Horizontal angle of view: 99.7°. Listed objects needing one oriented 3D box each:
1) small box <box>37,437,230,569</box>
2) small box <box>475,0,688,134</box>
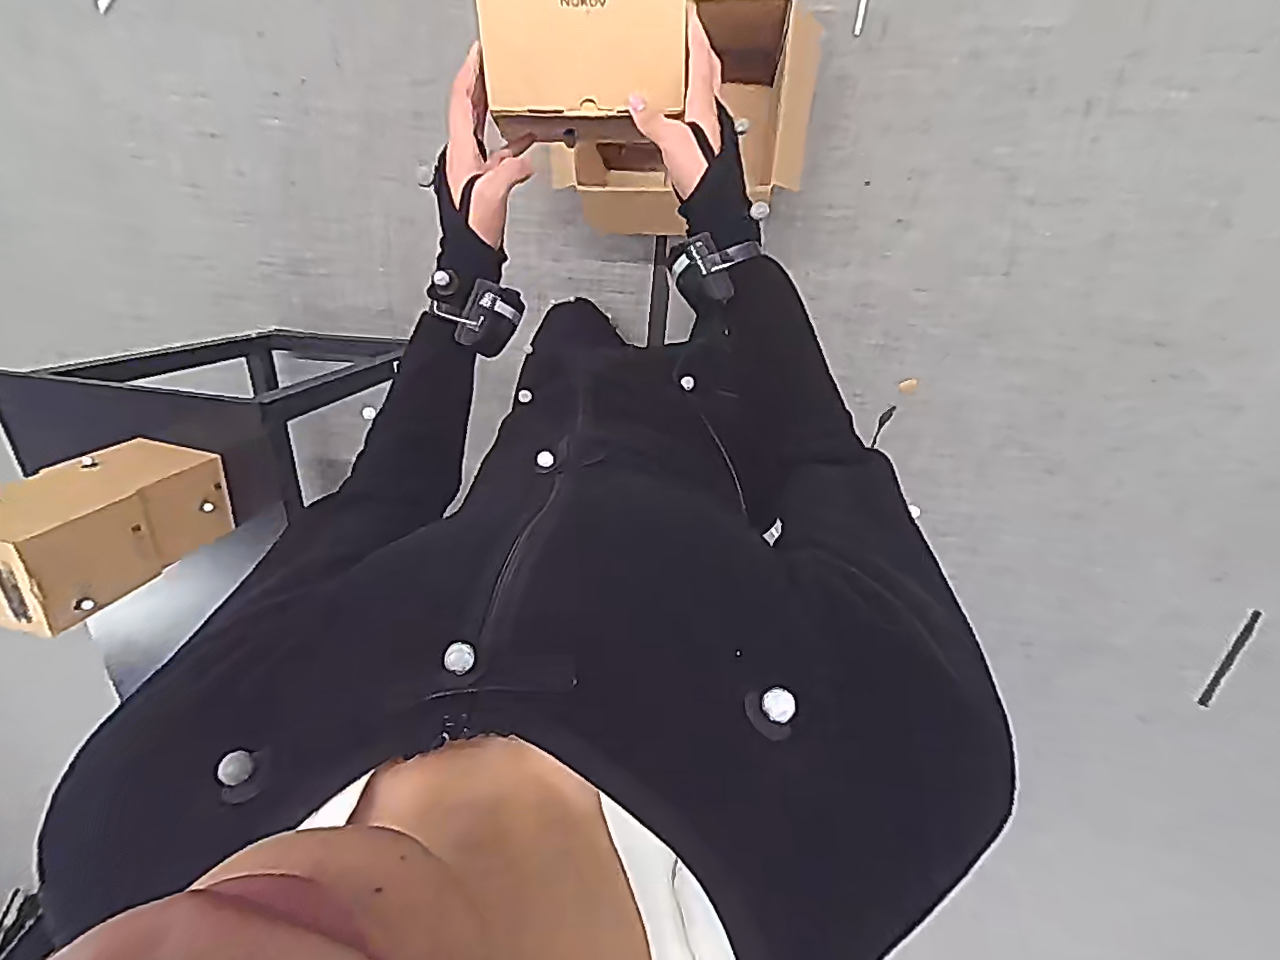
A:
[{"bbox_3d":[-0.899,0.032,0.979,0.179,0.176,0.168,12,116,5],"label":"small box"},{"bbox_3d":[-0.057,-0.419,0.473,0.168,0.176,0.179,-5,117,-8],"label":"small box"}]
